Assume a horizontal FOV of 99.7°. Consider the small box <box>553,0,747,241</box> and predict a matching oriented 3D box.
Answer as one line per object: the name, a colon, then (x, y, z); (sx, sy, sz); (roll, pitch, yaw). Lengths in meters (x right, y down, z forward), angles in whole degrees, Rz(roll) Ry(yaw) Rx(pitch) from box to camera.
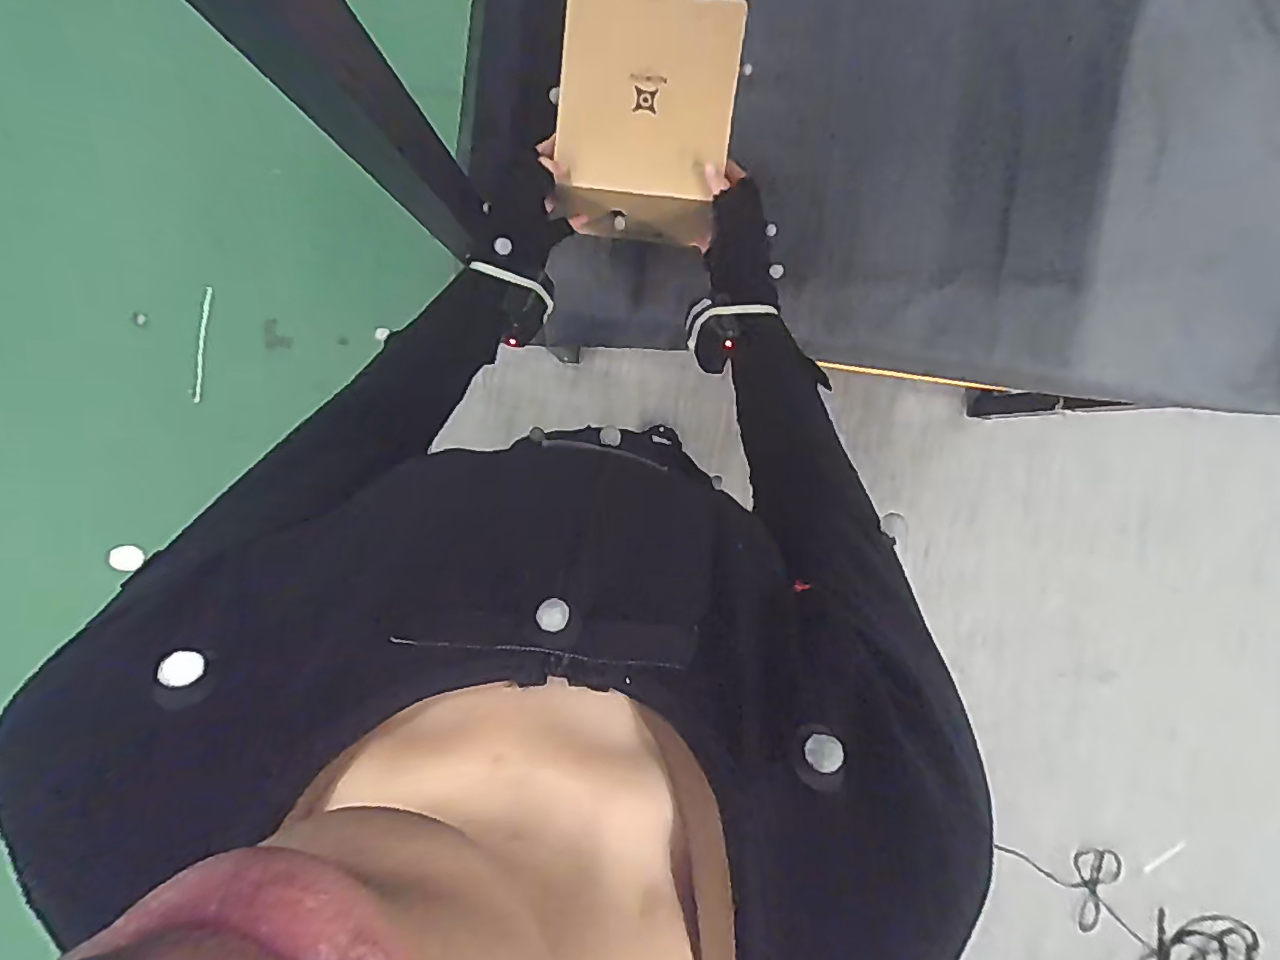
small box: (0.011, -0.372, 0.577); (0.168, 0.176, 0.179); (6, 99, 2)
